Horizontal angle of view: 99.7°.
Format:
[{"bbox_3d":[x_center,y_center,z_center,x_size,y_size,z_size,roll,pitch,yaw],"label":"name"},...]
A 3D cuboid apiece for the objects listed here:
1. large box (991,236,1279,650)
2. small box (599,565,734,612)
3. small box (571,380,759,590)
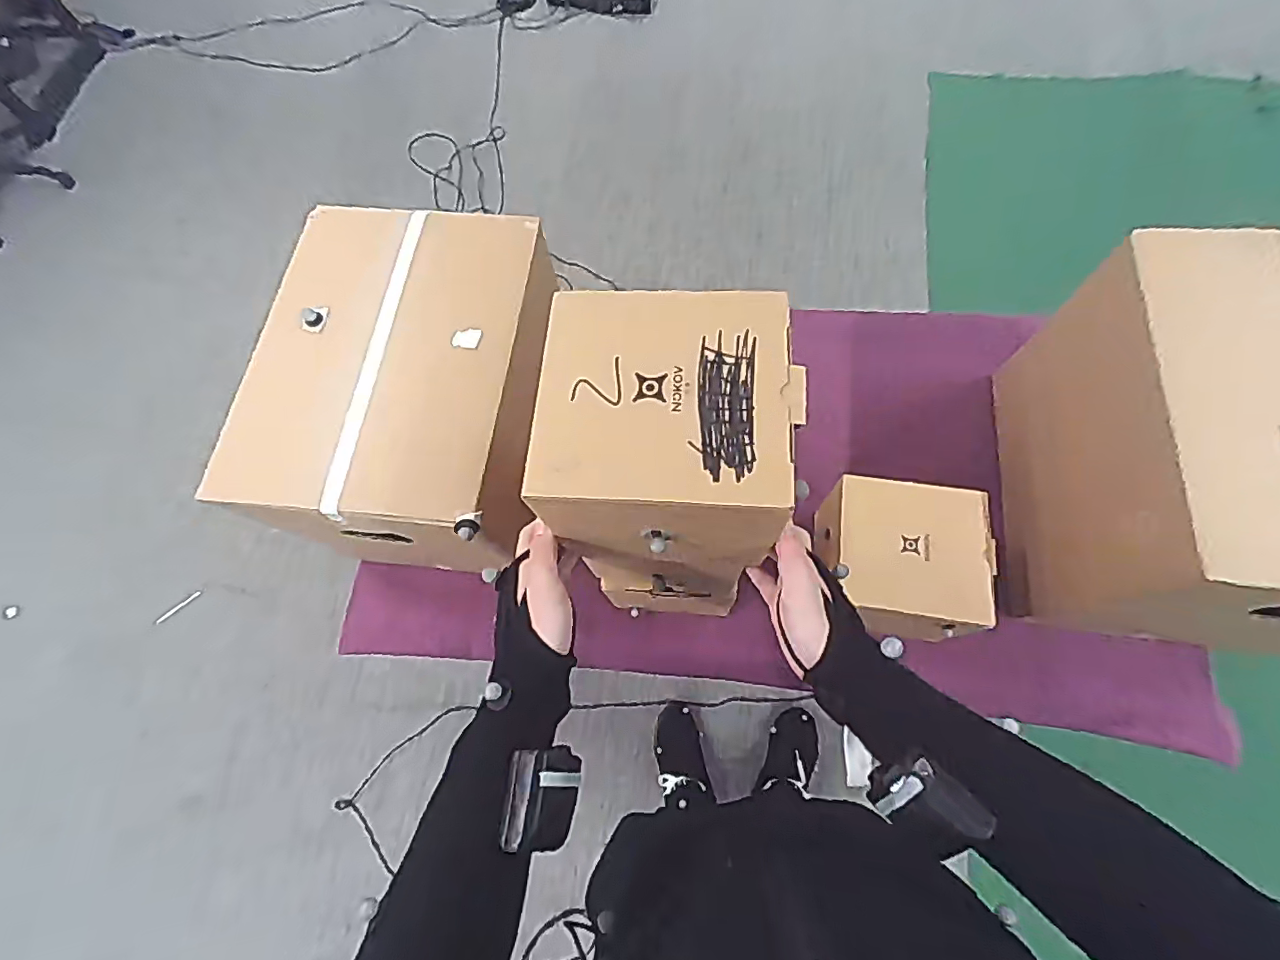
[{"bbox_3d":[0.683,-0.024,0.663,0.320,0.320,0.408,6,71,8],"label":"large box"},{"bbox_3d":[0.045,0.081,0.746,0.168,0.176,0.179,3,69,5],"label":"small box"},{"bbox_3d":[0.032,0.013,0.597,0.168,0.176,0.179,6,70,7],"label":"small box"}]
